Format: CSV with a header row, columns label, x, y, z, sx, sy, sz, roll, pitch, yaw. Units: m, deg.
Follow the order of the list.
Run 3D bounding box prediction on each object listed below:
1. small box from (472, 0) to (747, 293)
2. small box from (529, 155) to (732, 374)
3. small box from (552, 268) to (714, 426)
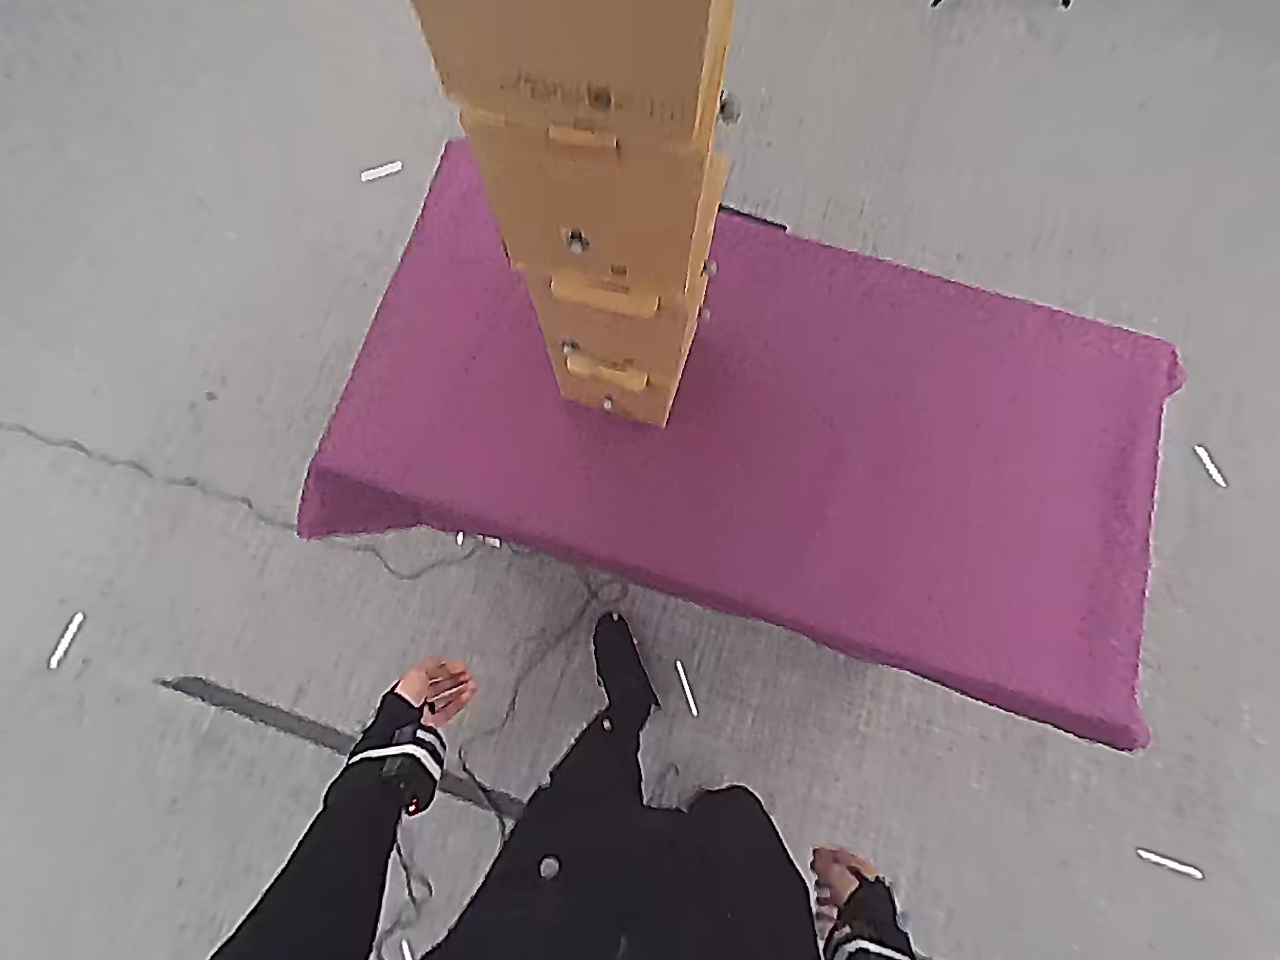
label,x,y,z,sx,sy,sz,roll,pitch,yaw
small box,-0.018,-0.286,0.446,0.168,0.176,0.179,10,77,1
small box,-0.007,-0.241,0.603,0.168,0.176,0.179,14,76,2
small box,-0.009,-0.201,0.762,0.168,0.176,0.179,18,77,4
